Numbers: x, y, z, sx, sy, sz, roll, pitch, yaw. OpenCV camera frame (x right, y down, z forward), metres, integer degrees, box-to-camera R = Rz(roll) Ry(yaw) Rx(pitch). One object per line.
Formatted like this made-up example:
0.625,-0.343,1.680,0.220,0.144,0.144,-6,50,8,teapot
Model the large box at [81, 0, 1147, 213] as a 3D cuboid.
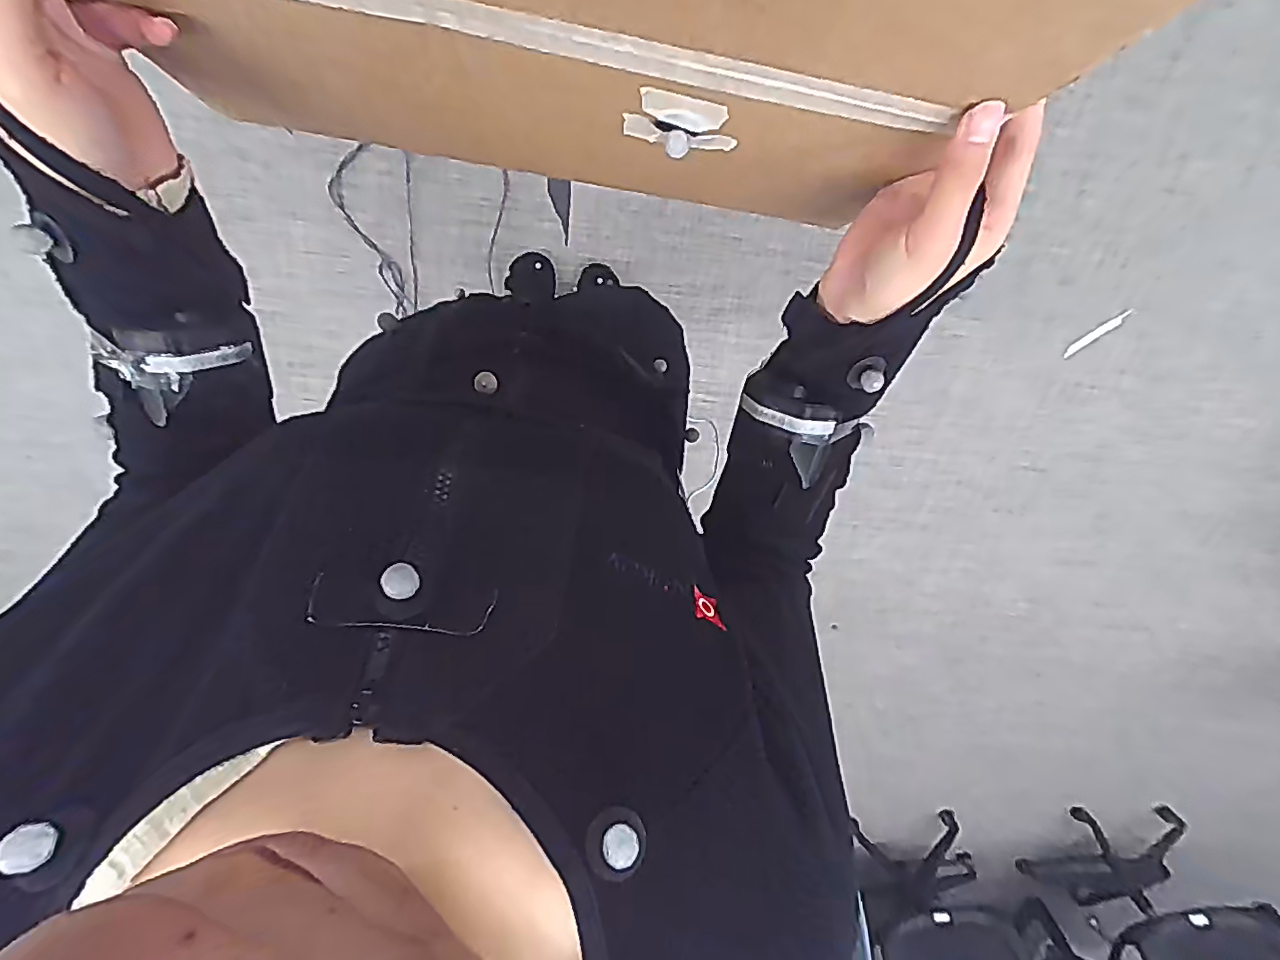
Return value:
-0.025,-0.334,0.194,0.408,0.320,0.320,5,99,-7,large box
